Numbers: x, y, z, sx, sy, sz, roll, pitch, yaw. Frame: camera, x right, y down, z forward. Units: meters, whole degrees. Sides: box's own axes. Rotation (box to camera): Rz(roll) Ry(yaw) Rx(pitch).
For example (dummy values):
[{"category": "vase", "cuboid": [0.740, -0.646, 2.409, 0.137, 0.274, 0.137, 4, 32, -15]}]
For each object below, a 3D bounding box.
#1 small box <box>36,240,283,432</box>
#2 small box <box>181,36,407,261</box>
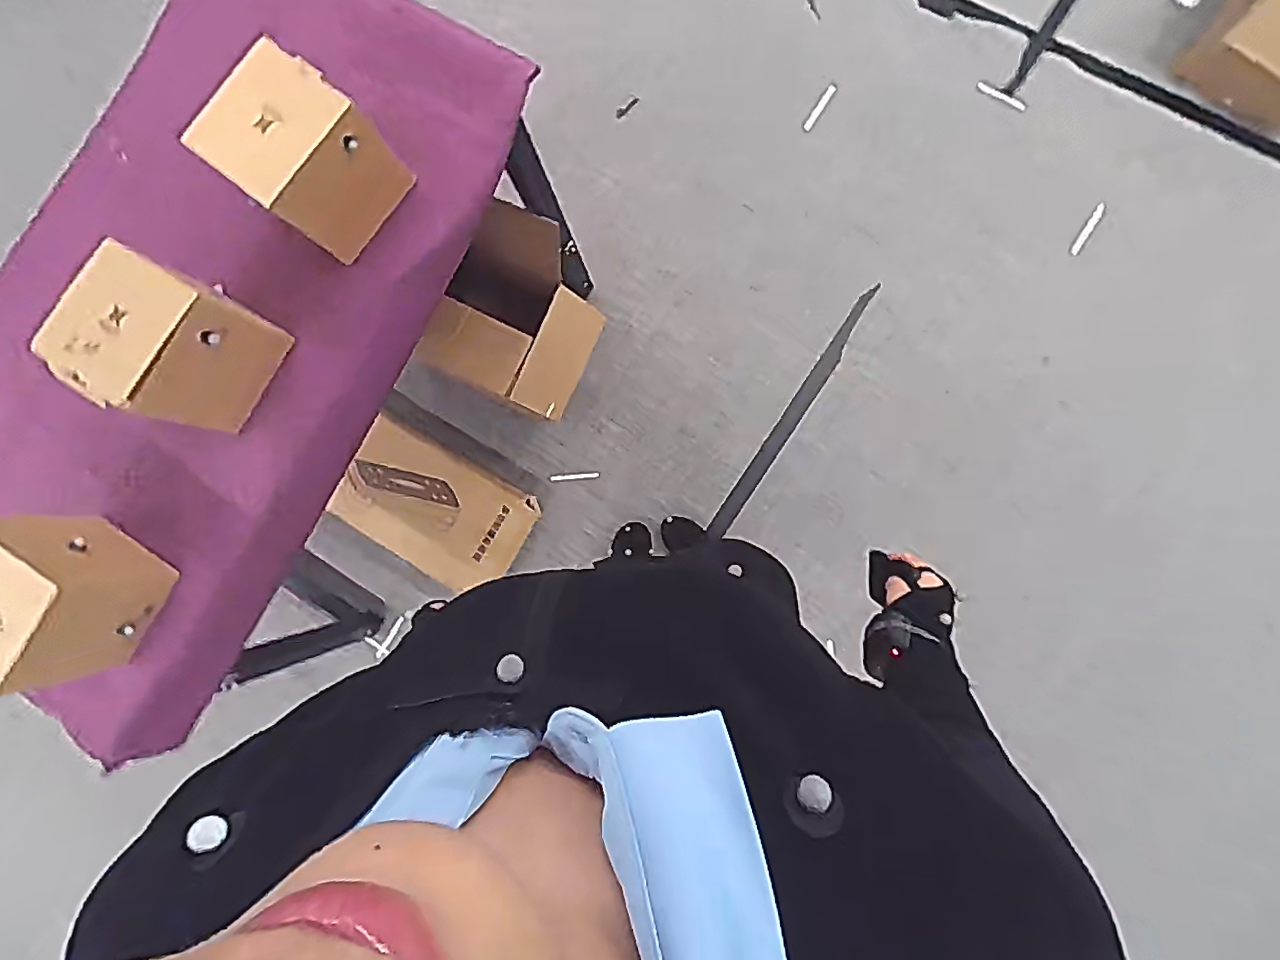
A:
[{"category": "small box", "cuboid": [-0.653, -0.190, 0.762, 0.168, 0.176, 0.179, 30, 89, 9]}, {"category": "small box", "cuboid": [-0.472, -0.451, 0.767, 0.168, 0.176, 0.179, 37, 89, 7]}]
